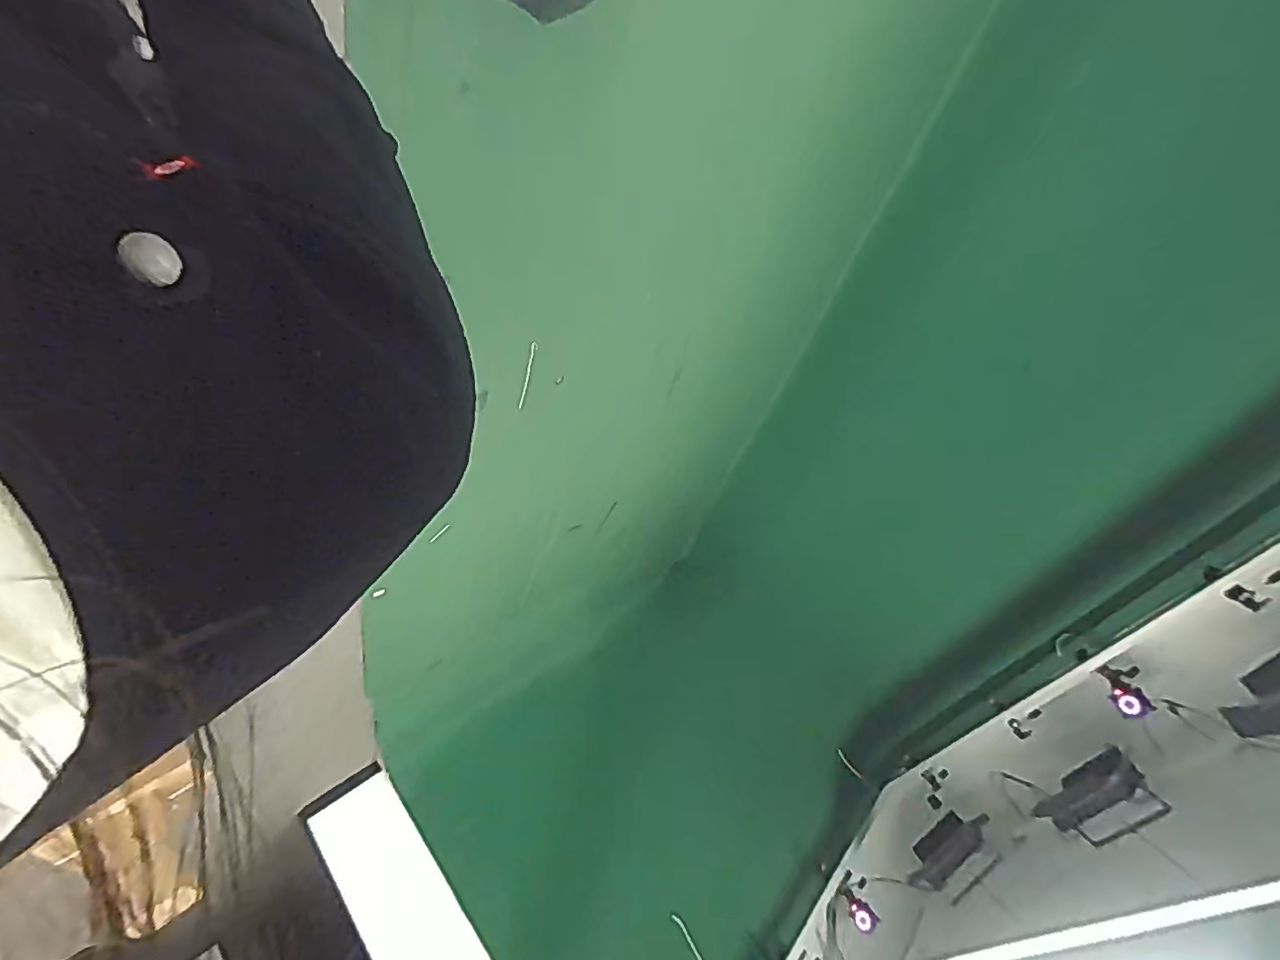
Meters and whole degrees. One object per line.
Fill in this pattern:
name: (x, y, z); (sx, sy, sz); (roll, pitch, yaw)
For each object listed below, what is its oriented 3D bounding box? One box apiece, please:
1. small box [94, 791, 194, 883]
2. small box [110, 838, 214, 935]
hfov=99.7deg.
small box: (-1.567, 1.129, 1.706); (0.179, 0.176, 0.168); (-30, 151, -31)
small box: (-1.455, 1.233, 1.647); (0.168, 0.176, 0.179); (-30, 151, -33)
